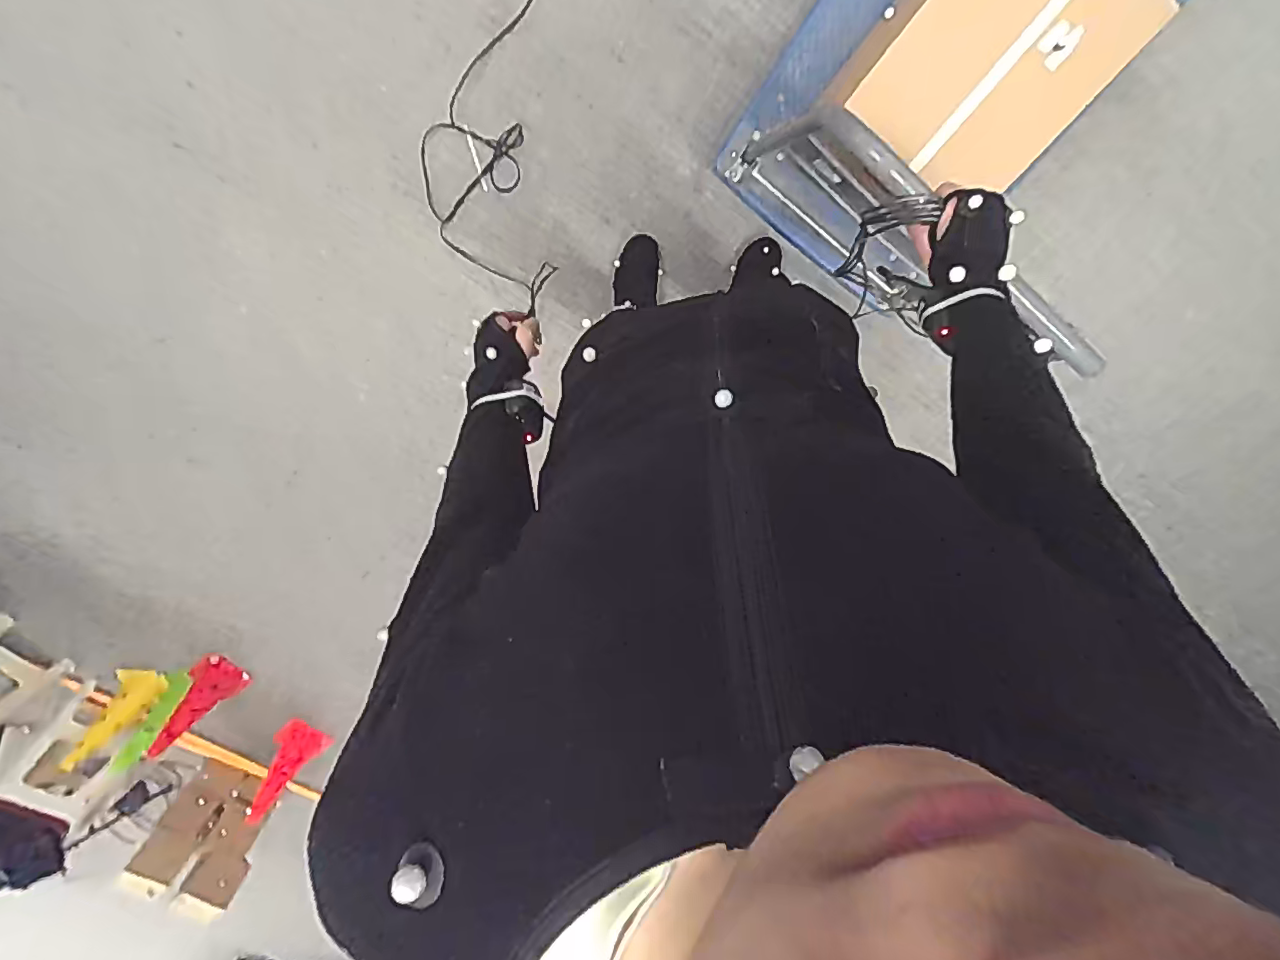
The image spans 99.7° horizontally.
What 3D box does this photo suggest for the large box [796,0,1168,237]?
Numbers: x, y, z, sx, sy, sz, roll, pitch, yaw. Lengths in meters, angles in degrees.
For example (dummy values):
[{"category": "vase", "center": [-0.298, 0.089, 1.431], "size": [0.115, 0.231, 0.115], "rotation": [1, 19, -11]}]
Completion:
[{"category": "large box", "center": [0.559, -0.714, 0.977], "size": [0.320, 0.320, 0.408], "rotation": [34, 112, -17]}]
